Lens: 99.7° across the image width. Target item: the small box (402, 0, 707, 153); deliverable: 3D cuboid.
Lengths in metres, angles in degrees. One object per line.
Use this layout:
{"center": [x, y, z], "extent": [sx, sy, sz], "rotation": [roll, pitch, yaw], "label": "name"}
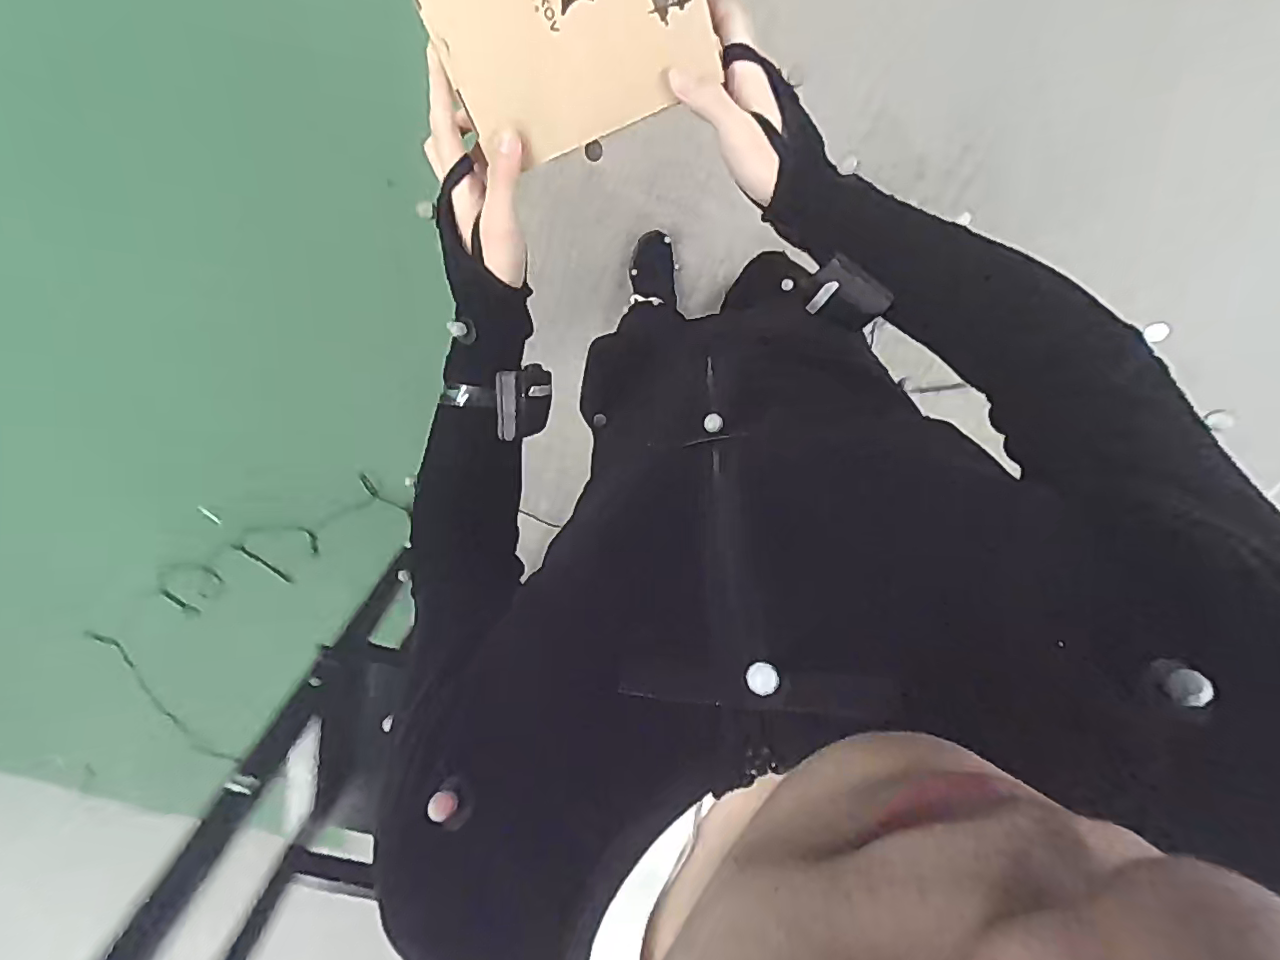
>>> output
{"center": [-0.061, -0.352, 0.383], "extent": [0.179, 0.176, 0.168], "rotation": [-15, 123, 9], "label": "small box"}
